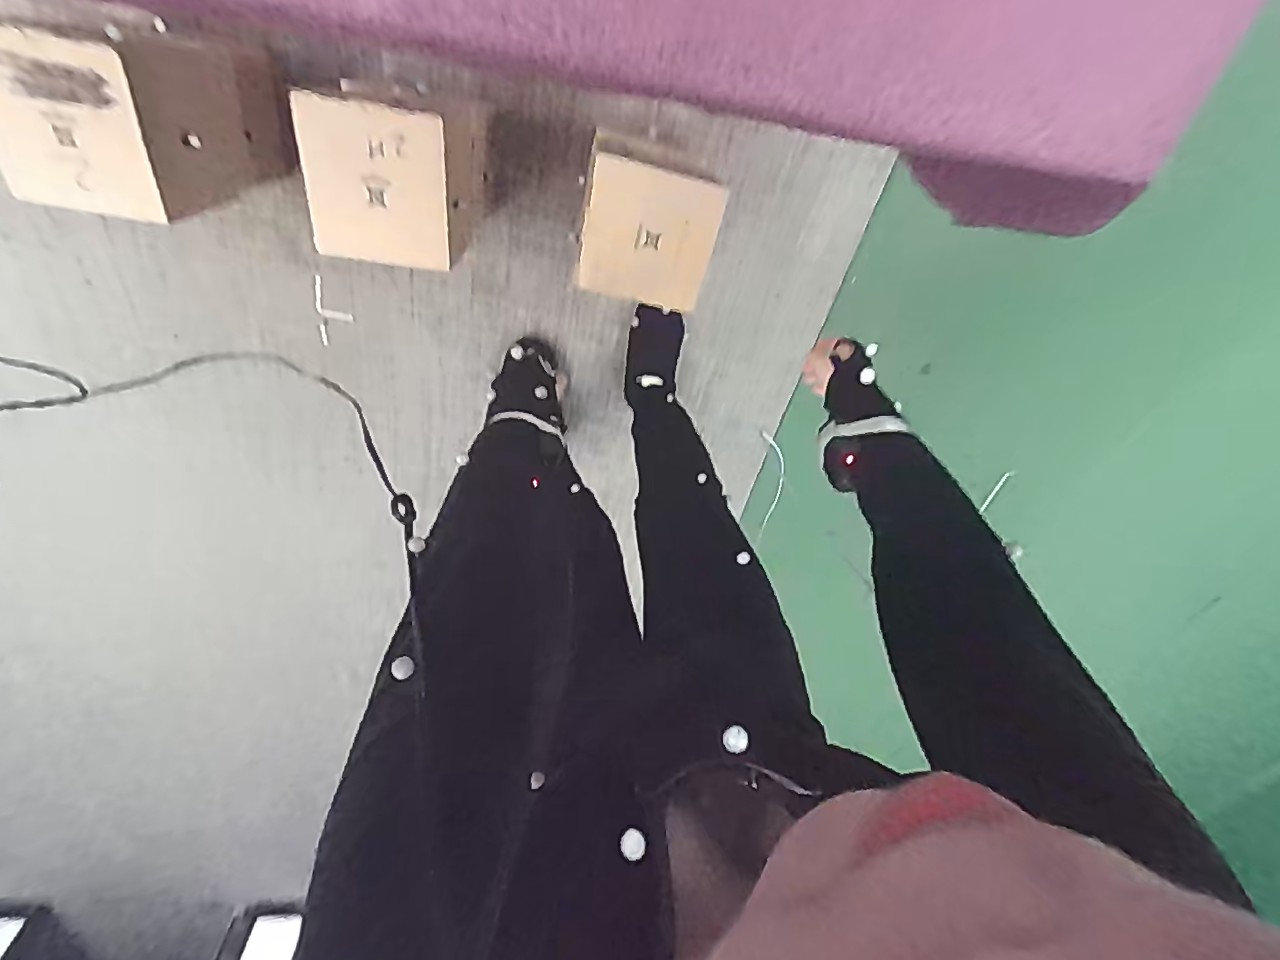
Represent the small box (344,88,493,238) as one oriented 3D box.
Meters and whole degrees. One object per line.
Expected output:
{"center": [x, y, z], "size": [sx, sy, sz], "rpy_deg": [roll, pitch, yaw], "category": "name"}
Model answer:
{"center": [-0.341, -0.504, 0.862], "size": [0.179, 0.176, 0.168], "rpy_deg": [7, 125, -9], "category": "small box"}
